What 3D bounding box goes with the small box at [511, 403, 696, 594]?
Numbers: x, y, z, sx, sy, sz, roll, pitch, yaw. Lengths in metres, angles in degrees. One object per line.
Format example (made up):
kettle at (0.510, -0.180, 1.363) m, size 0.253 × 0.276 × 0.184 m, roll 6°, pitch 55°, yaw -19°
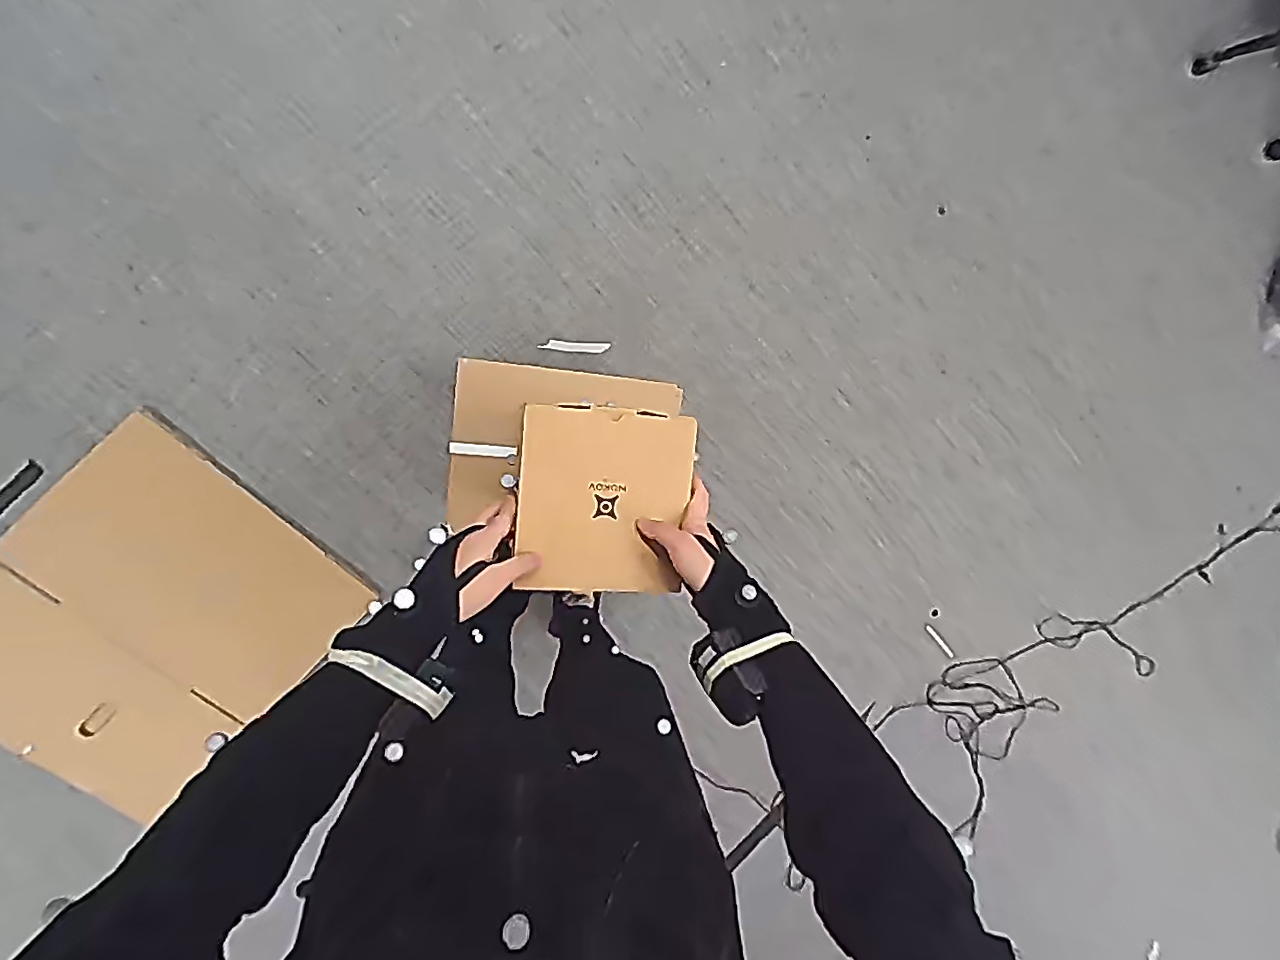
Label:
small box at (-0.048, 0.014, 0.589) m, size 0.168 × 0.176 × 0.179 m, roll 3°, pitch 94°, yaw -12°
